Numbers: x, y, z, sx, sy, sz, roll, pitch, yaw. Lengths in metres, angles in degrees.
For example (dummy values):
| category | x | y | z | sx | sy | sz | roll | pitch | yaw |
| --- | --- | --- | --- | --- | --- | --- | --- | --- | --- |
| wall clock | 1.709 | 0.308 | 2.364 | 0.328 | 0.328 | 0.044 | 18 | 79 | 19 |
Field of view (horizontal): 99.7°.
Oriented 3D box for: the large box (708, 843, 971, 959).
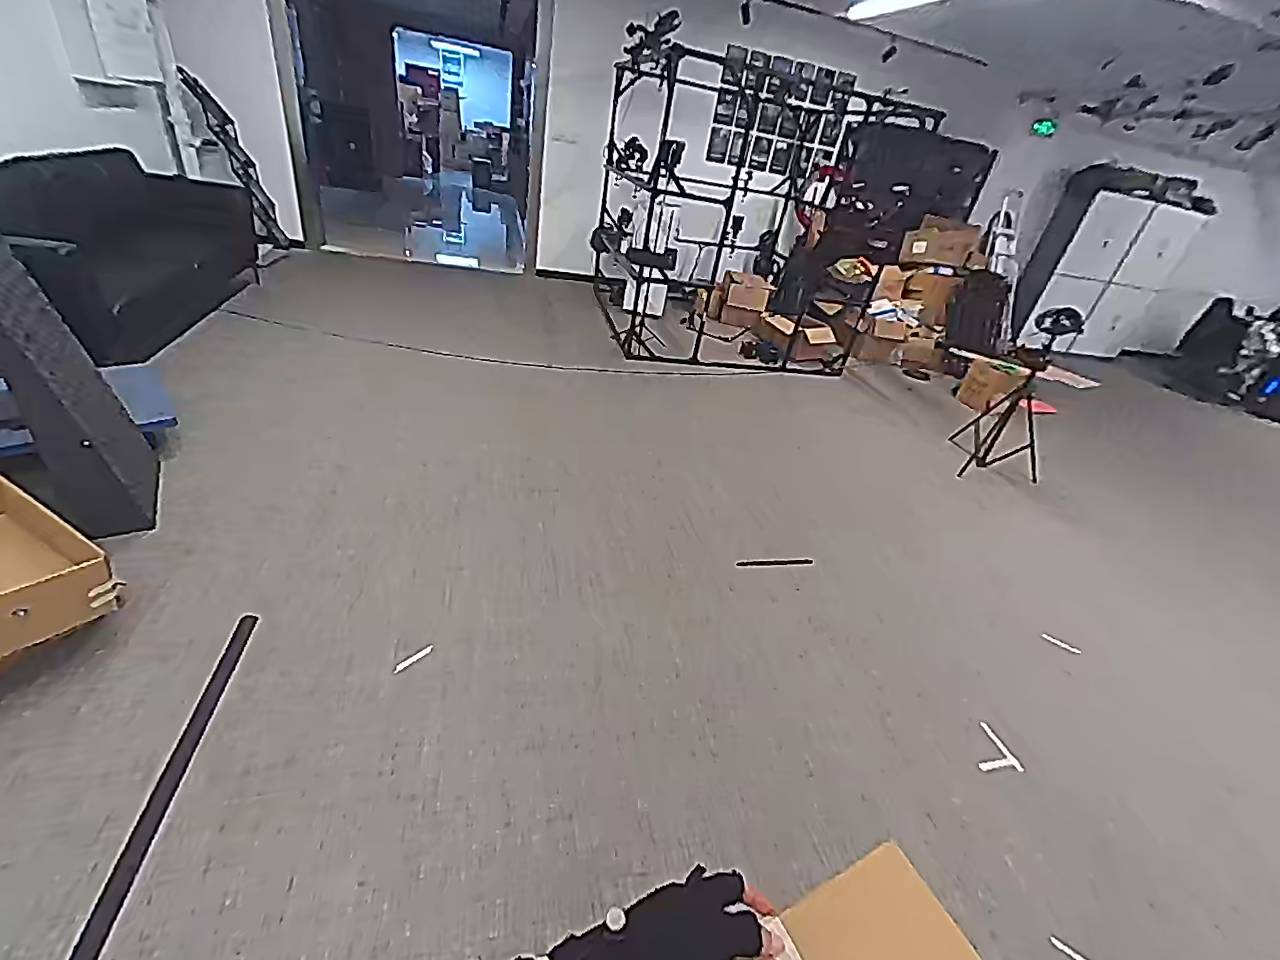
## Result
| category | x | y | z | sx | sy | sz | roll | pitch | yaw |
| --- | --- | --- | --- | --- | --- | --- | --- | --- | --- |
| large box | 0.178 | 0.620 | 0.434 | 0.320 | 0.320 | 0.408 | -12 | 43 | -26 |
